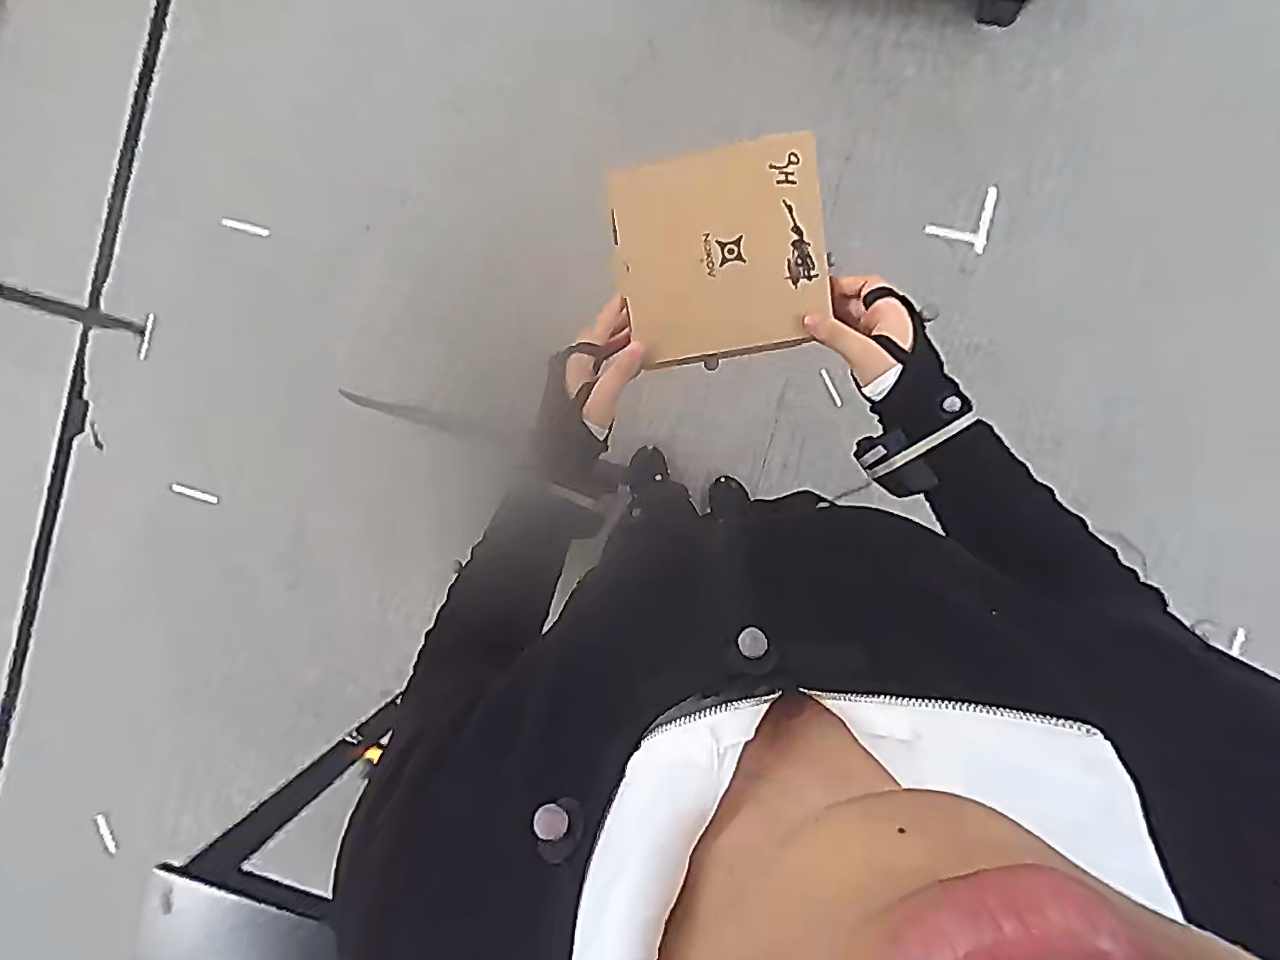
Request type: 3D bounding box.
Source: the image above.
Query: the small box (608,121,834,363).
[{"bbox_3d":[0.076,-0.211,0.531,0.179,0.176,0.168,-7,99,6],"label":"small box"}]
